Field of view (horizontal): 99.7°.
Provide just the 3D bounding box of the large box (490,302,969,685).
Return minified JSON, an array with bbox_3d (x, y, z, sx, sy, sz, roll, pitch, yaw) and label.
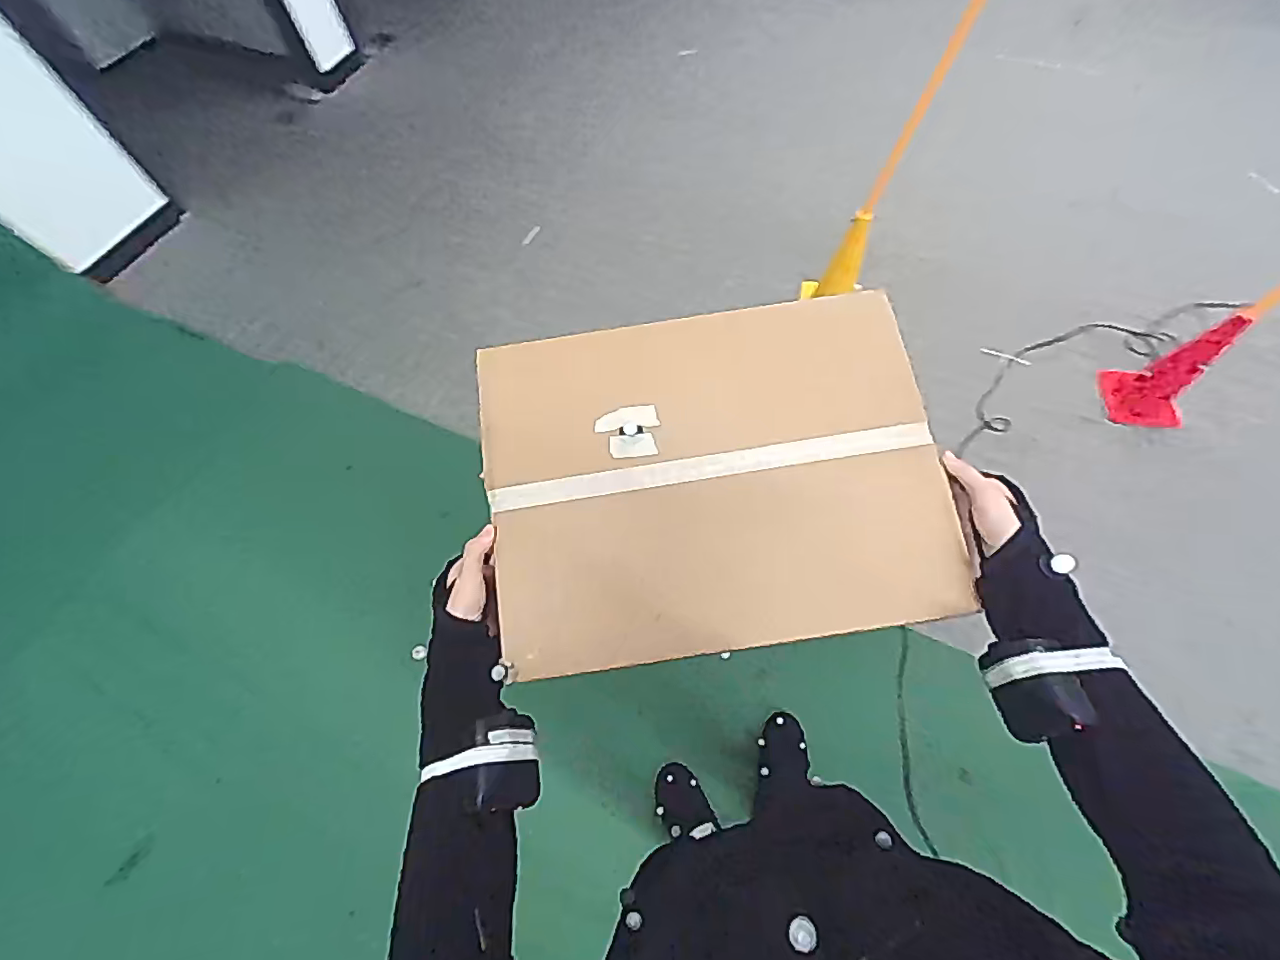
[{"bbox_3d":[0.077,0.036,0.648,0.408,0.320,0.320,-9,74,1],"label":"large box"}]
